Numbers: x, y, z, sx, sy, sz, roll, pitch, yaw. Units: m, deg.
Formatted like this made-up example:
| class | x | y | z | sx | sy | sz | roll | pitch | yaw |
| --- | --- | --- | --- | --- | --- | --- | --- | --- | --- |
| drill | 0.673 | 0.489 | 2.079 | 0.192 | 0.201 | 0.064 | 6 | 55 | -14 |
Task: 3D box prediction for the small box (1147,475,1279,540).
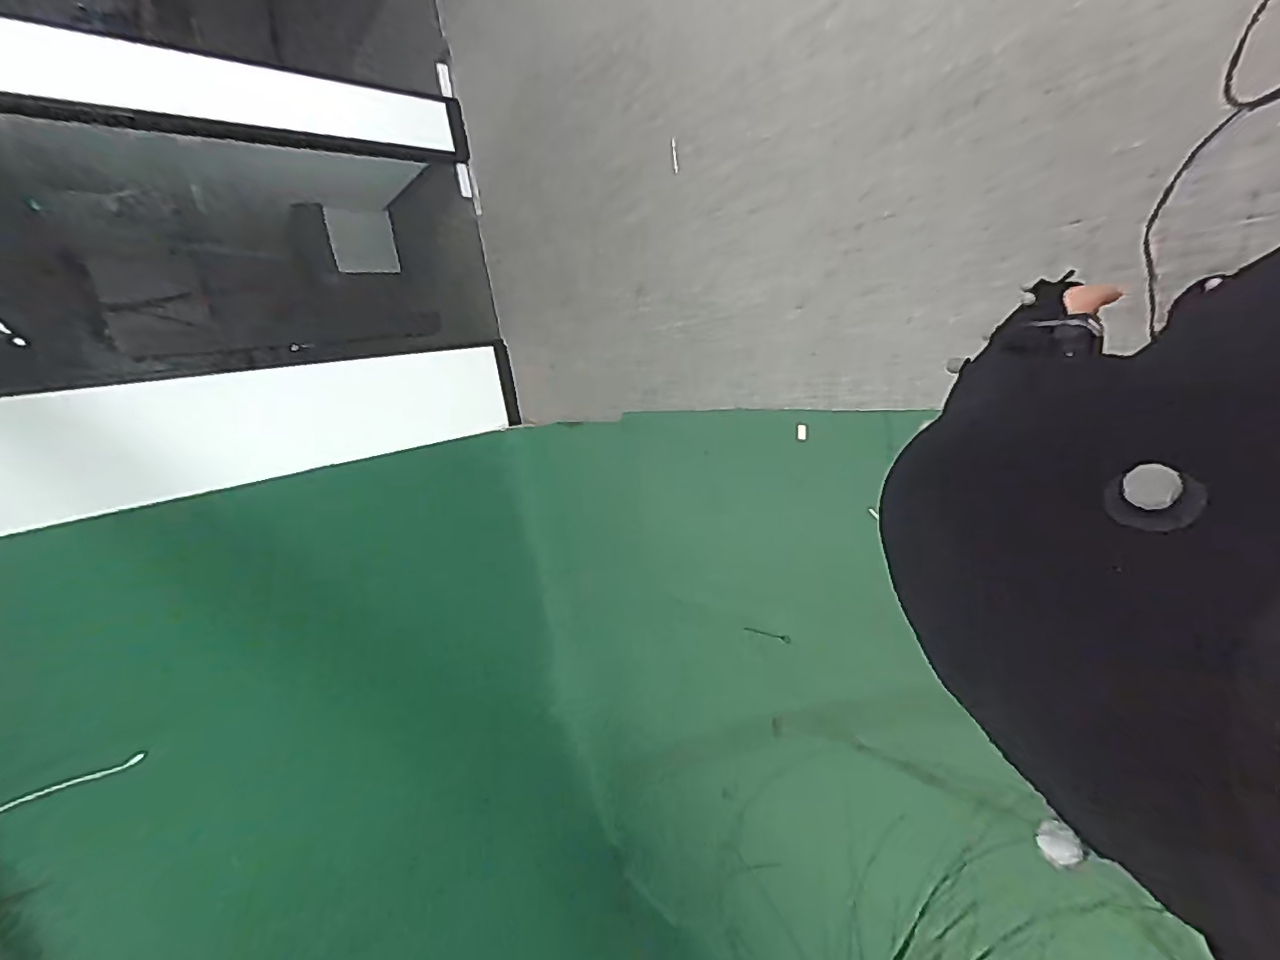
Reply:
| class | x | y | z | sx | sy | sz | roll | pitch | yaw |
| --- | --- | --- | --- | --- | --- | --- | --- | --- | --- |
| small box | 1.110 | 0.114 | 1.002 | 0.179 | 0.176 | 0.168 | 59 | 140 | 17 |
